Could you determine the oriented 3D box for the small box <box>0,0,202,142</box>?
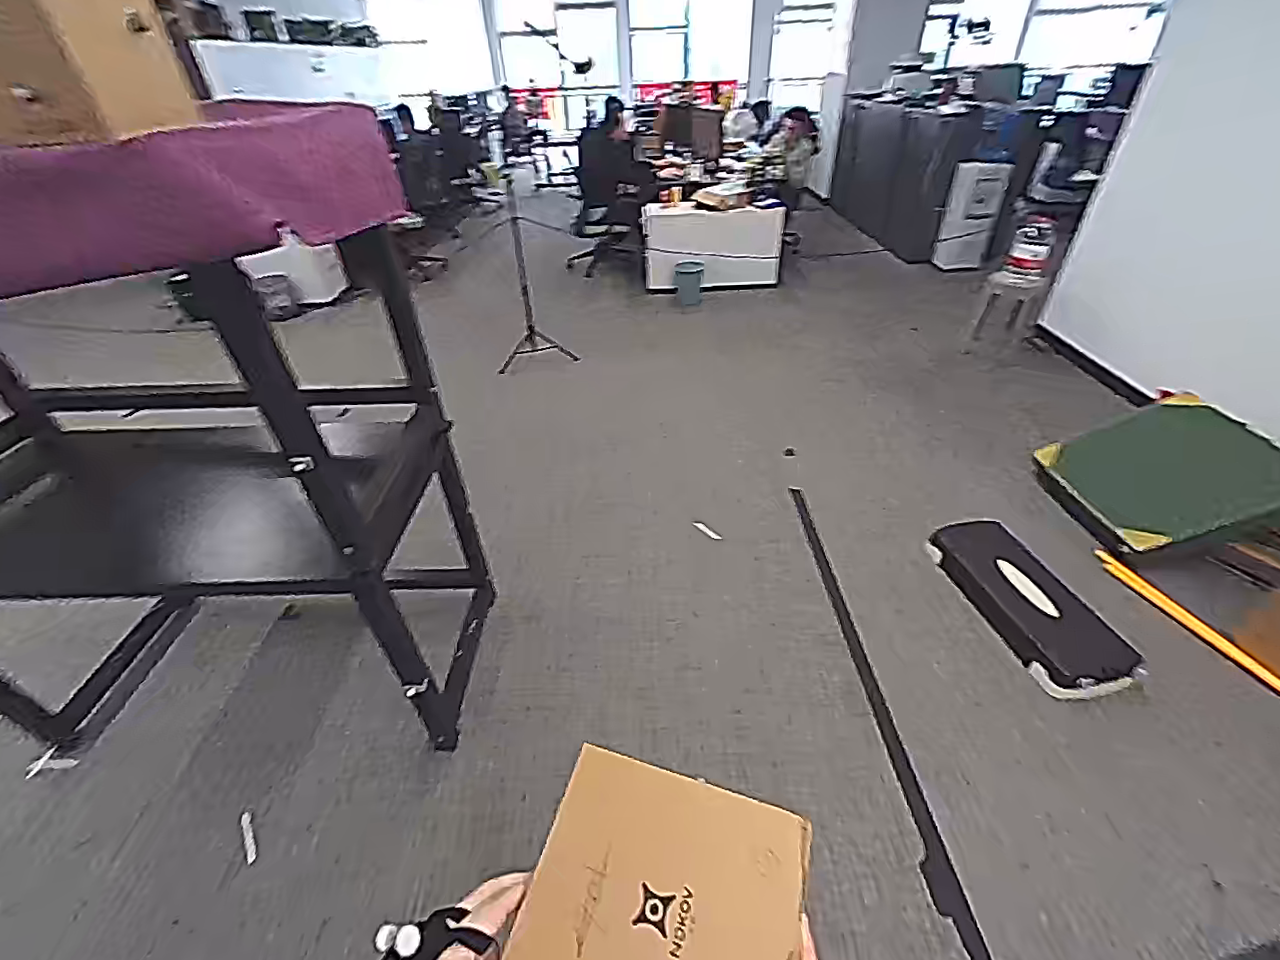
[{"bbox_3d":[-0.756,-0.569,0.739,0.168,0.176,0.179,0,37,5],"label":"small box"}]

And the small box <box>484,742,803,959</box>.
[{"bbox_3d":[0.007,0.328,0.393,0.179,0.176,0.168,11,45,15],"label":"small box"}]
